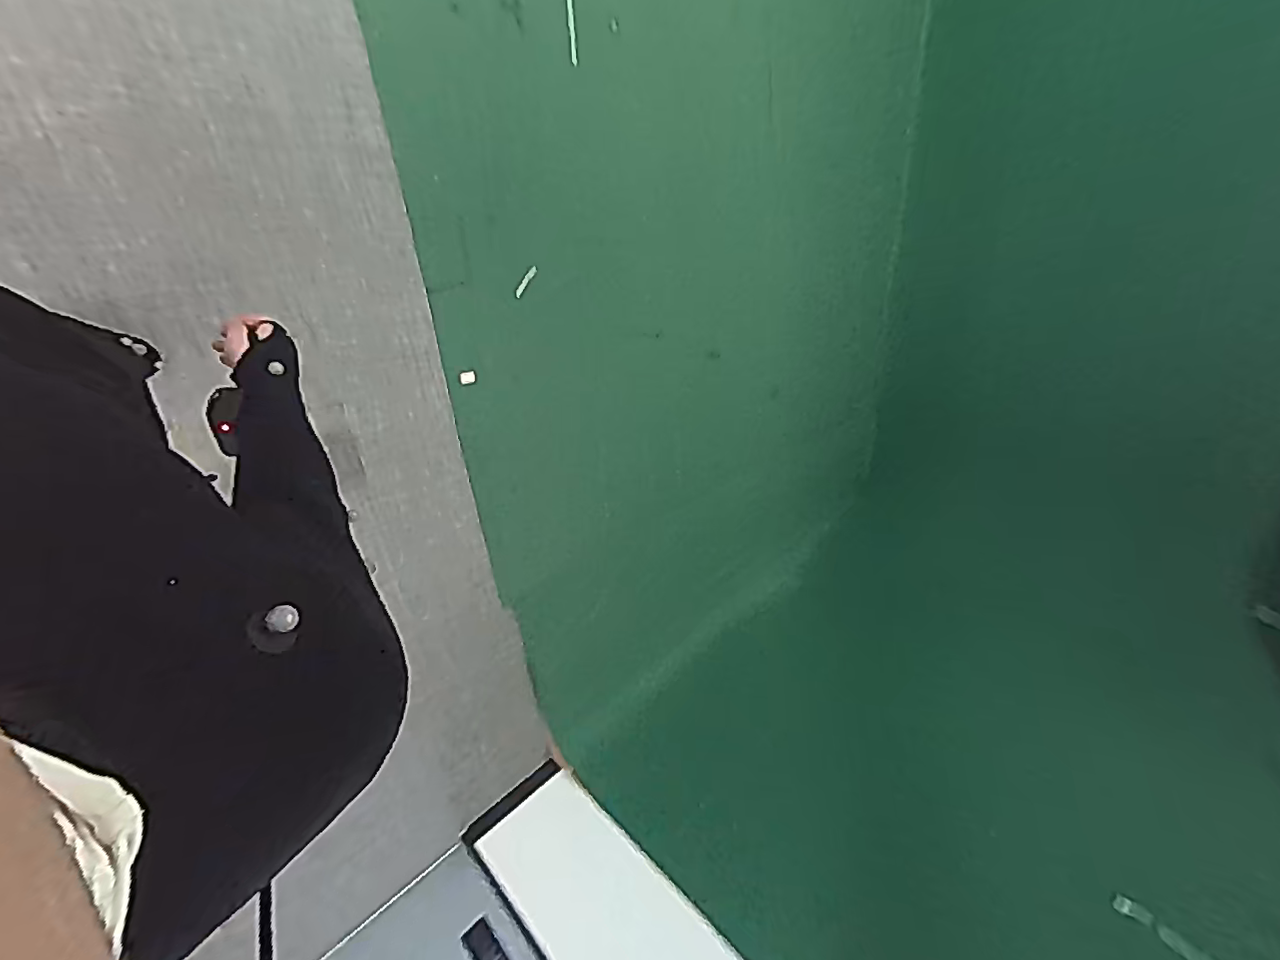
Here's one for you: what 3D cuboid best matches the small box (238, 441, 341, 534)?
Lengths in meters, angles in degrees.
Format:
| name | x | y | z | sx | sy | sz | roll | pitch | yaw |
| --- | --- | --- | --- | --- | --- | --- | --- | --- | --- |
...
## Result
| name | x | y | z | sx | sy | sz | roll | pitch | yaw |
| --- | --- | --- | --- | --- | --- | --- | --- | --- | --- |
| small box | -0.903 | 0.009 | 1.391 | 0.168 | 0.176 | 0.179 | -24 | 122 | -37 |
